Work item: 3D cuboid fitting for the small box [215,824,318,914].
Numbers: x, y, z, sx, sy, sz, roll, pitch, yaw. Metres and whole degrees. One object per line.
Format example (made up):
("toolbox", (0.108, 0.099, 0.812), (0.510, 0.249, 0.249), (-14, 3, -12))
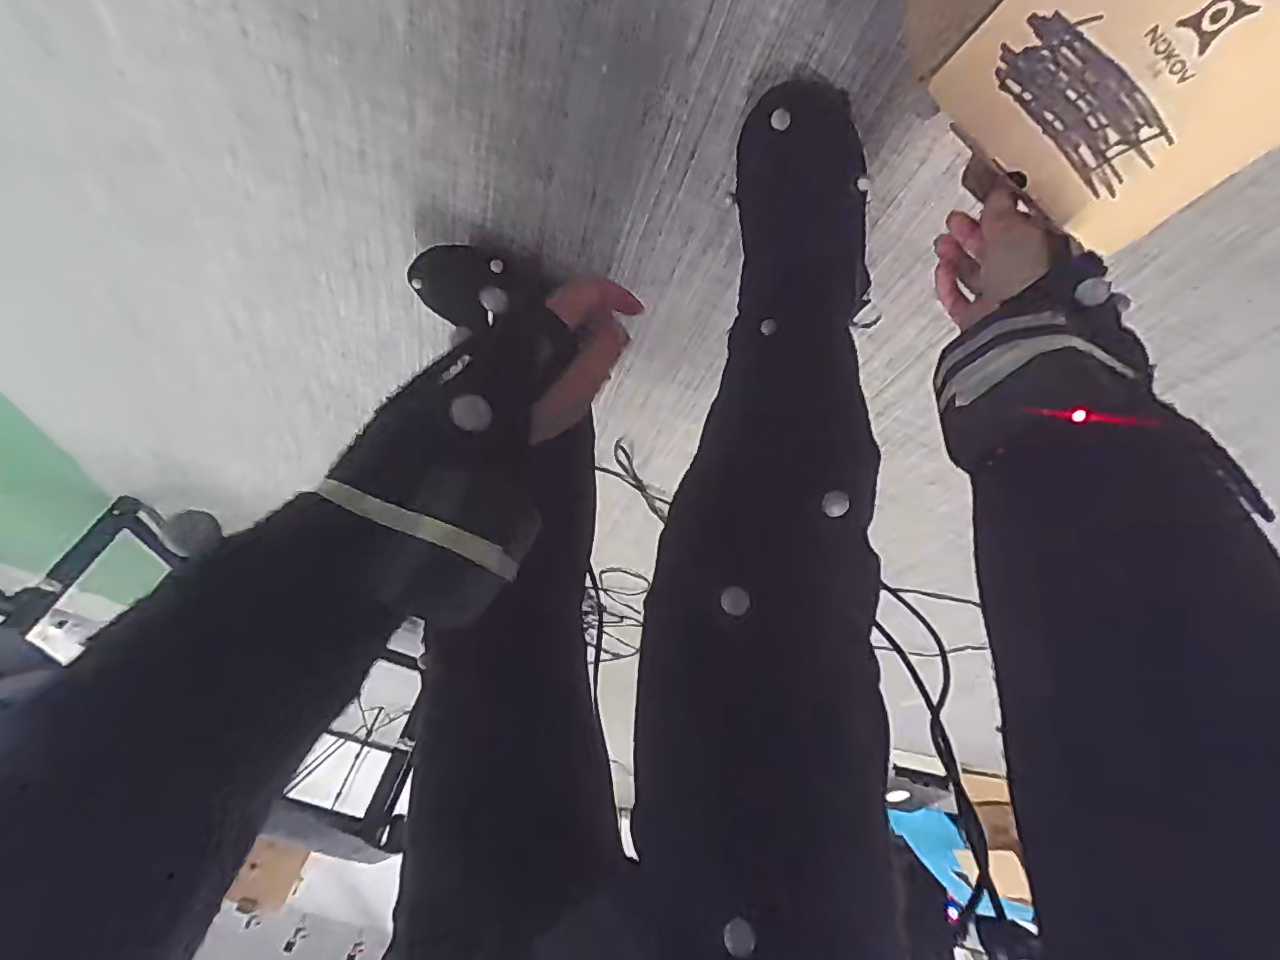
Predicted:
("small box", (-1.058, 1.104, 1.548), (0.168, 0.176, 0.179), (25, 147, -10))
